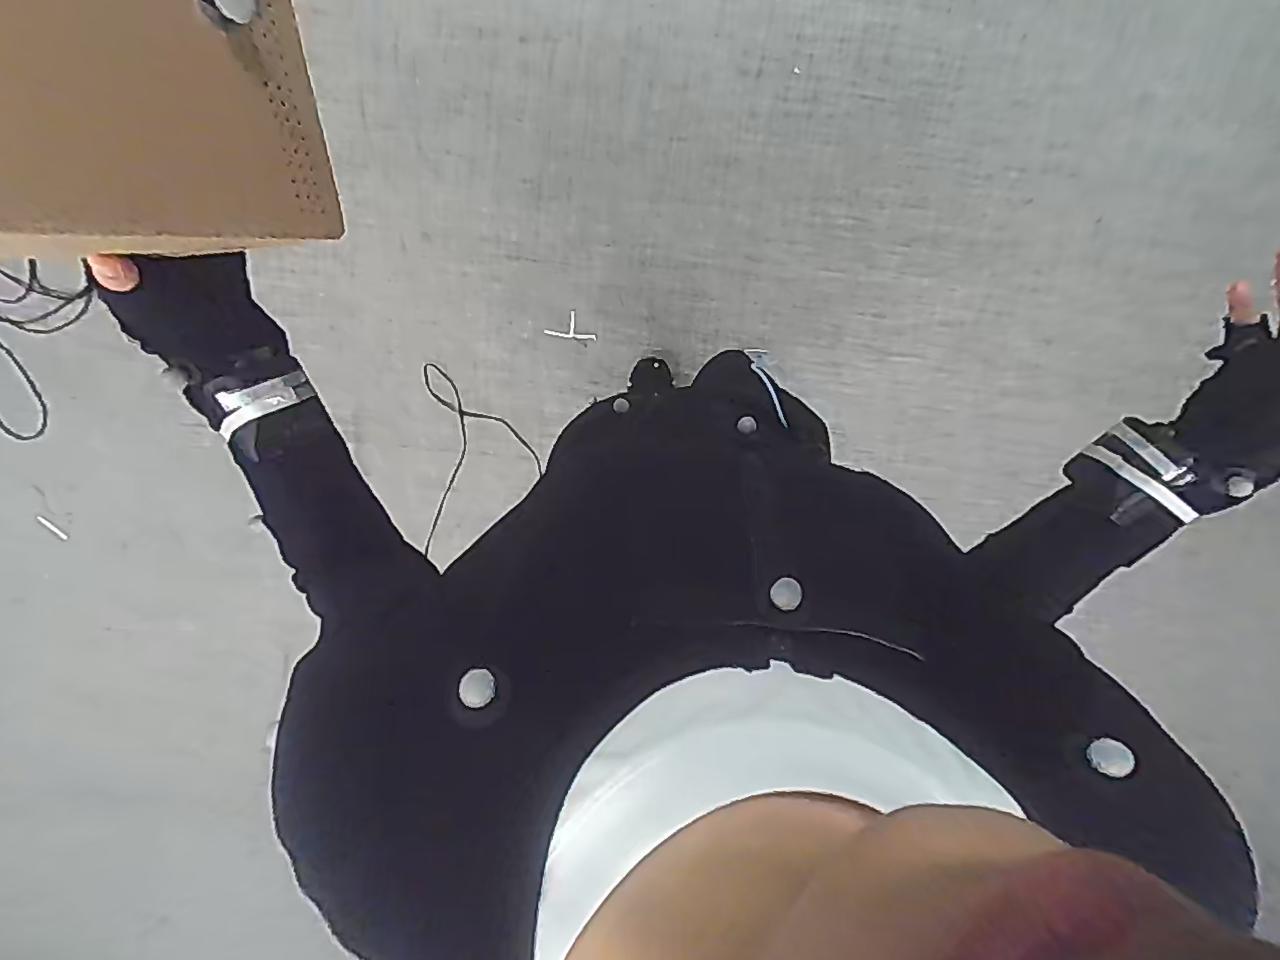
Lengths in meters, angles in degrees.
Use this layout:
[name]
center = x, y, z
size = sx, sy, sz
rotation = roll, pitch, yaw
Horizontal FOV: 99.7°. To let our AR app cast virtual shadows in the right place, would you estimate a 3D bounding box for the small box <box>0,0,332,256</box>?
[small box]
center = -0.258, -0.180, 0.199
size = 0.168, 0.176, 0.179
rotation = 4, 113, 16
